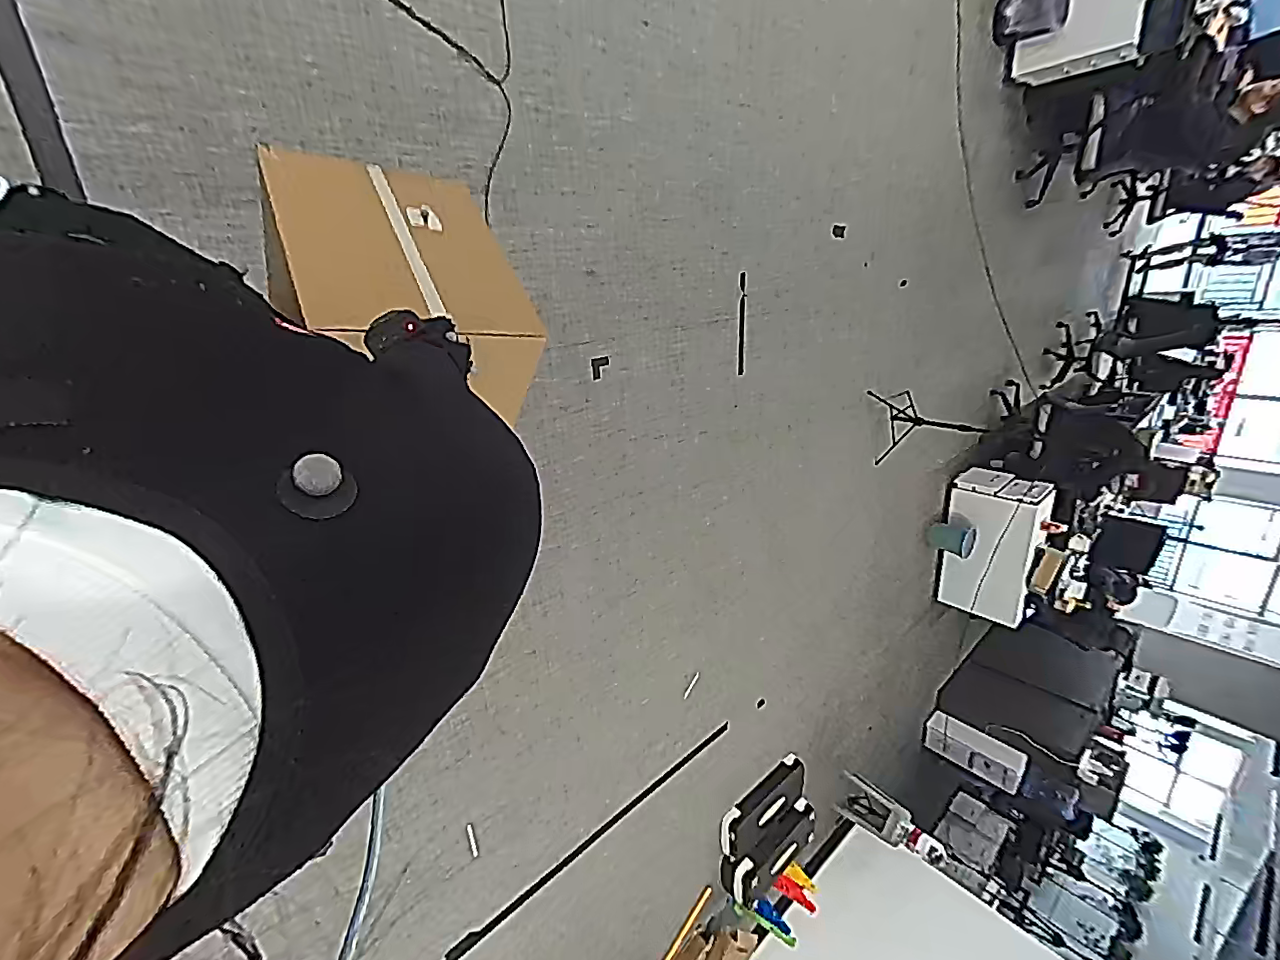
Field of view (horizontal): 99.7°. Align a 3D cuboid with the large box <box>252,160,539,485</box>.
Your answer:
[{"bbox_3d":[-0.424,-0.253,0.910,0.320,0.408,0.320,-9,146,-39],"label":"large box"}]
